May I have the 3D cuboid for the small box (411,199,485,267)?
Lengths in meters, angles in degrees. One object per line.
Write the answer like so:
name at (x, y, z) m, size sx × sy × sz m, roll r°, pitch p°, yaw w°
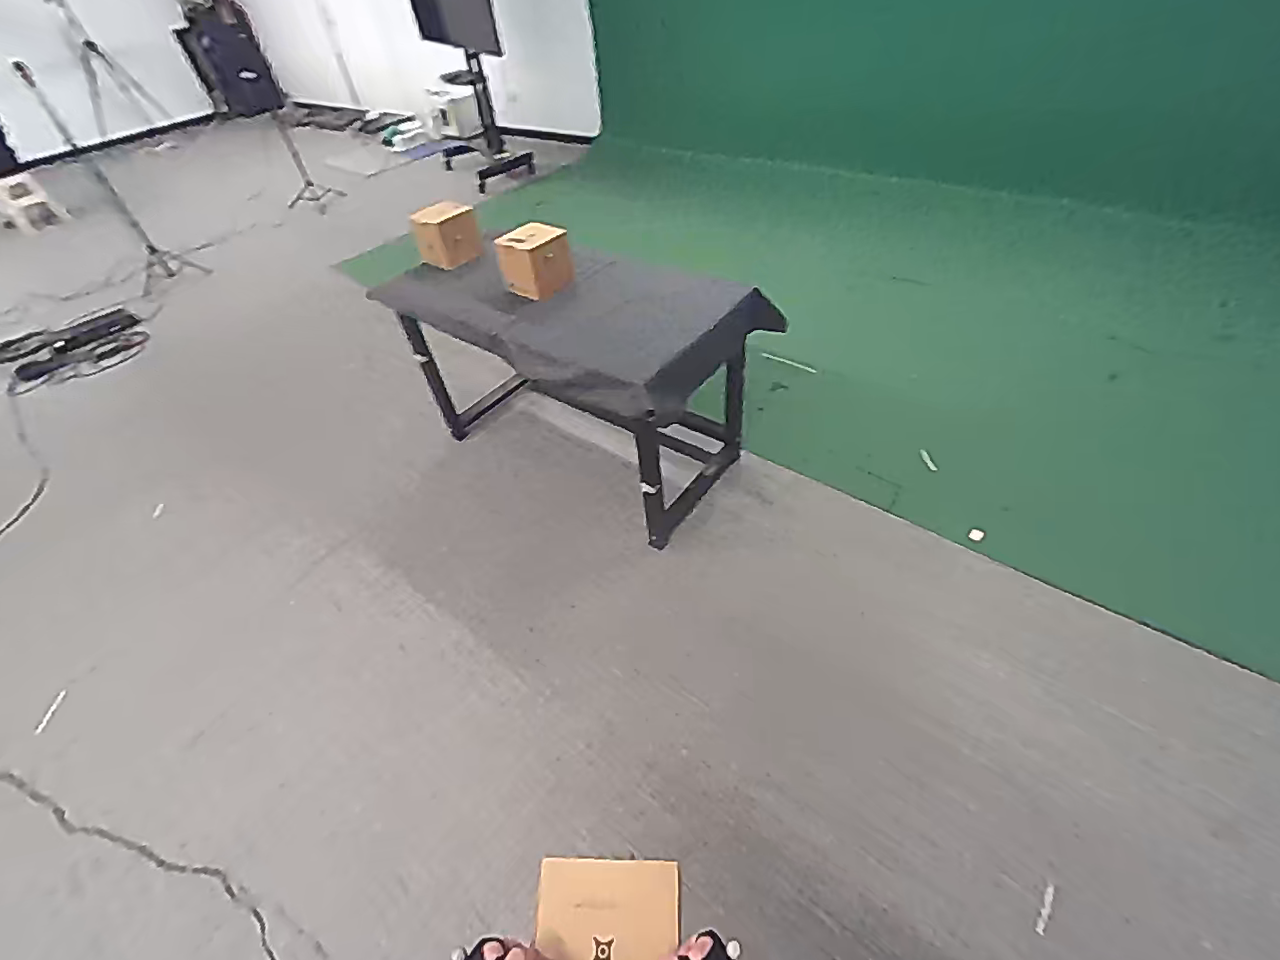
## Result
small box at (-0.708, -0.916, 2.013) m, size 0.168 × 0.176 × 0.179 m, roll 27°, pitch 56°, yaw 27°

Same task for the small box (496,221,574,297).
small box at (-0.338, -0.728, 1.784) m, size 0.168 × 0.176 × 0.179 m, roll 28°, pitch 55°, yaw 29°
